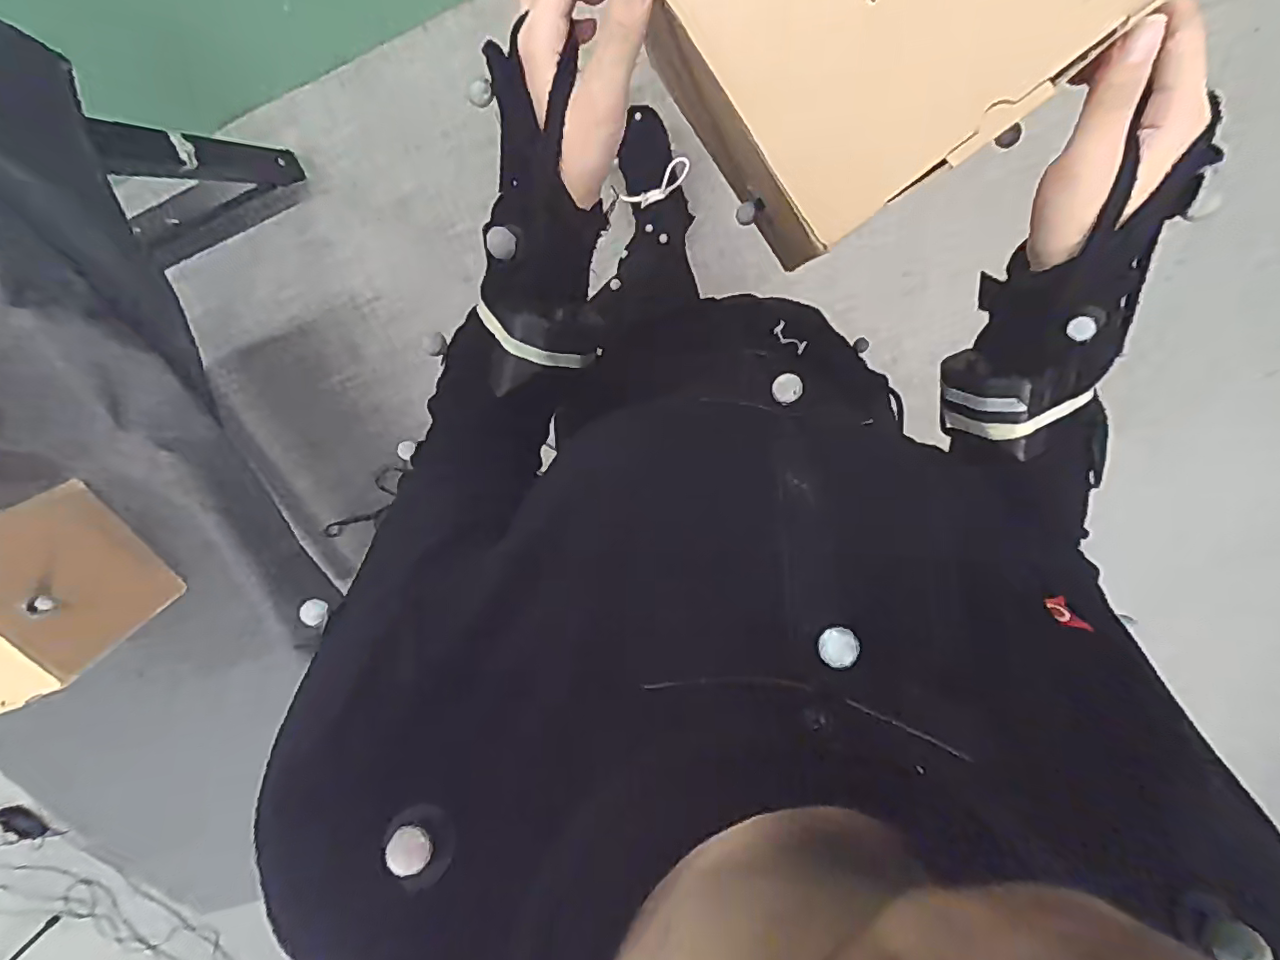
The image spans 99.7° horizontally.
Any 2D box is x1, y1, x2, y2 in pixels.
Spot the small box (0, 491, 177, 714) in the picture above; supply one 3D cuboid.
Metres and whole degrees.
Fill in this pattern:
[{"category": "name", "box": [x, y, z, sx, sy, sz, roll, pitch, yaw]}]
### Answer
[{"category": "small box", "box": [-0.684, 0.131, 0.589, 0.168, 0.176, 0.179, -21, 115, 10]}]
